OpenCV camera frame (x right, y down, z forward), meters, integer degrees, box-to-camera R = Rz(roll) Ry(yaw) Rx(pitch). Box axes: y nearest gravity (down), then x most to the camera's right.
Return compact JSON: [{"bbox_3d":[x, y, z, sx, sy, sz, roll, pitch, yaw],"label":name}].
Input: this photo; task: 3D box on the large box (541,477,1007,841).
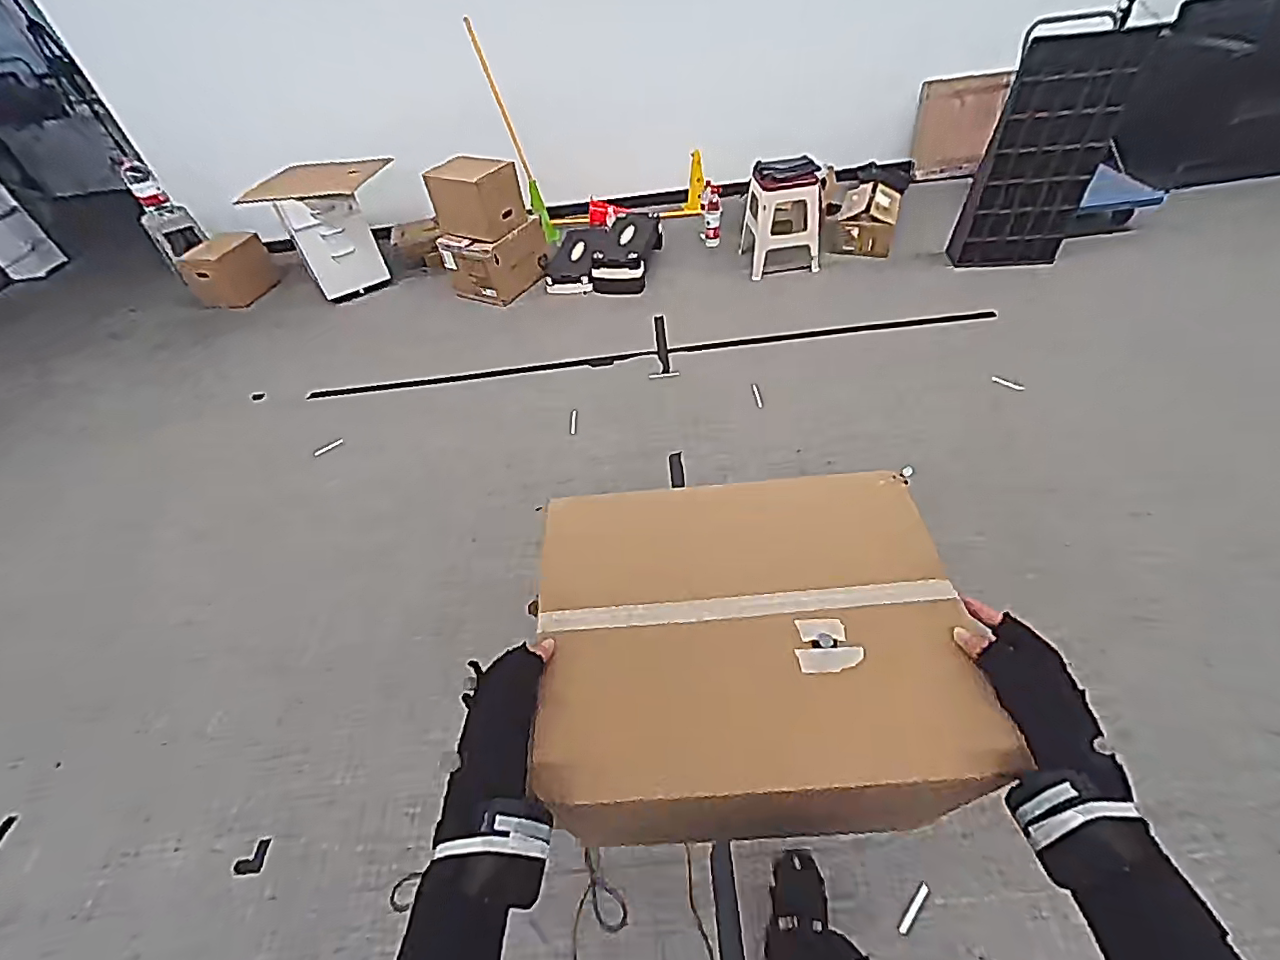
[{"bbox_3d":[0.113,0.226,0.662,0.408,0.320,0.320,-5,51,2],"label":"large box"}]
